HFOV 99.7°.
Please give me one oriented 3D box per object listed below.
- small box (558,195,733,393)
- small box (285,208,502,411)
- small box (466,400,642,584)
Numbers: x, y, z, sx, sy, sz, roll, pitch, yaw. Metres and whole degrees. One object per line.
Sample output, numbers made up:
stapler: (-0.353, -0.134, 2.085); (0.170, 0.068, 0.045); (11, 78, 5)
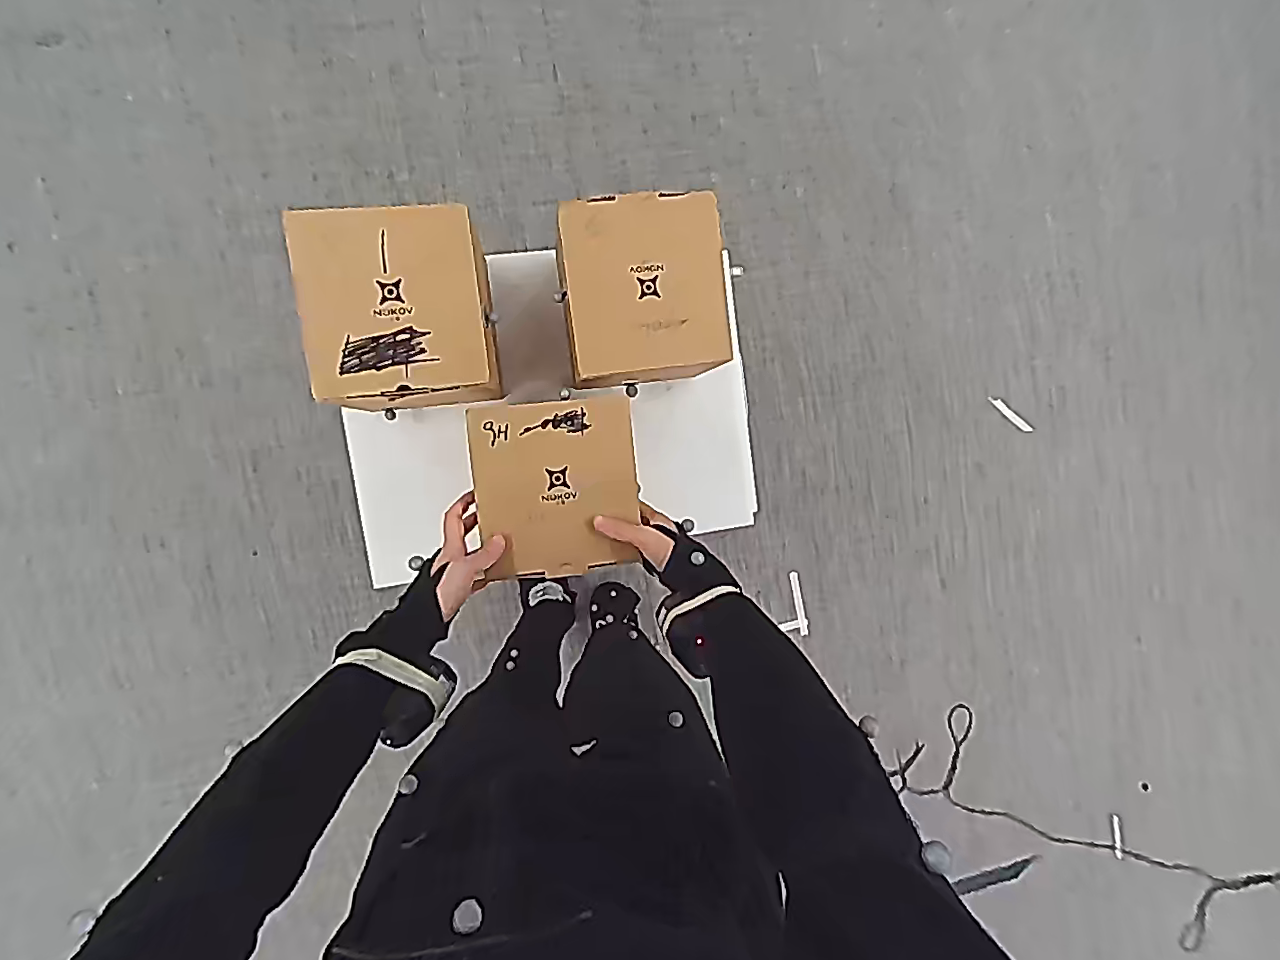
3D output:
small box: (-0.004, -0.204, 0.632); (0.168, 0.176, 0.179); (-9, 96, -8)
small box: (-0.248, -0.170, 0.590); (0.168, 0.176, 0.179); (-7, 94, -10)
small box: (-0.096, 0.006, 0.626); (0.168, 0.176, 0.179); (-7, 94, -9)
